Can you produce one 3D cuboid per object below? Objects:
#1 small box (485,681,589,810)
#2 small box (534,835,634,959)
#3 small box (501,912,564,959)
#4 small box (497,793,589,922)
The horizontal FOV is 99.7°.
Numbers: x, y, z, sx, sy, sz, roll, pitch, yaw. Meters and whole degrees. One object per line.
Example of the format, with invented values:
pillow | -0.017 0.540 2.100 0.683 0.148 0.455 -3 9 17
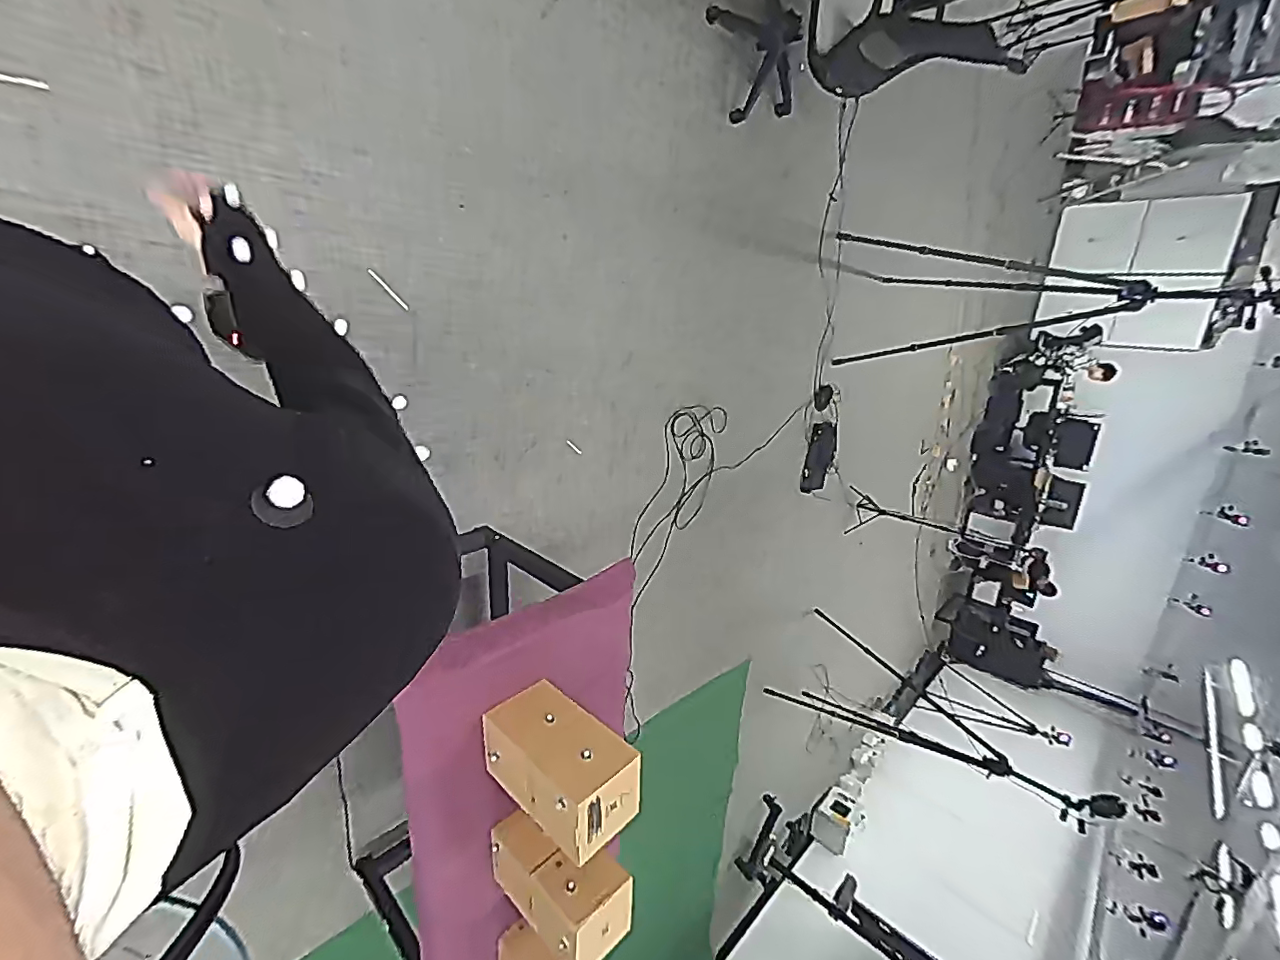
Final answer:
small box | -0.236 0.600 1.250 0.179 0.176 0.168 -17 115 -43
small box | -0.133 0.968 1.248 0.168 0.176 0.179 -15 115 -43
small box | -0.265 1.304 1.469 0.168 0.176 0.179 -14 113 -44
small box | -0.247 0.929 1.357 0.179 0.176 0.168 -16 115 -44
